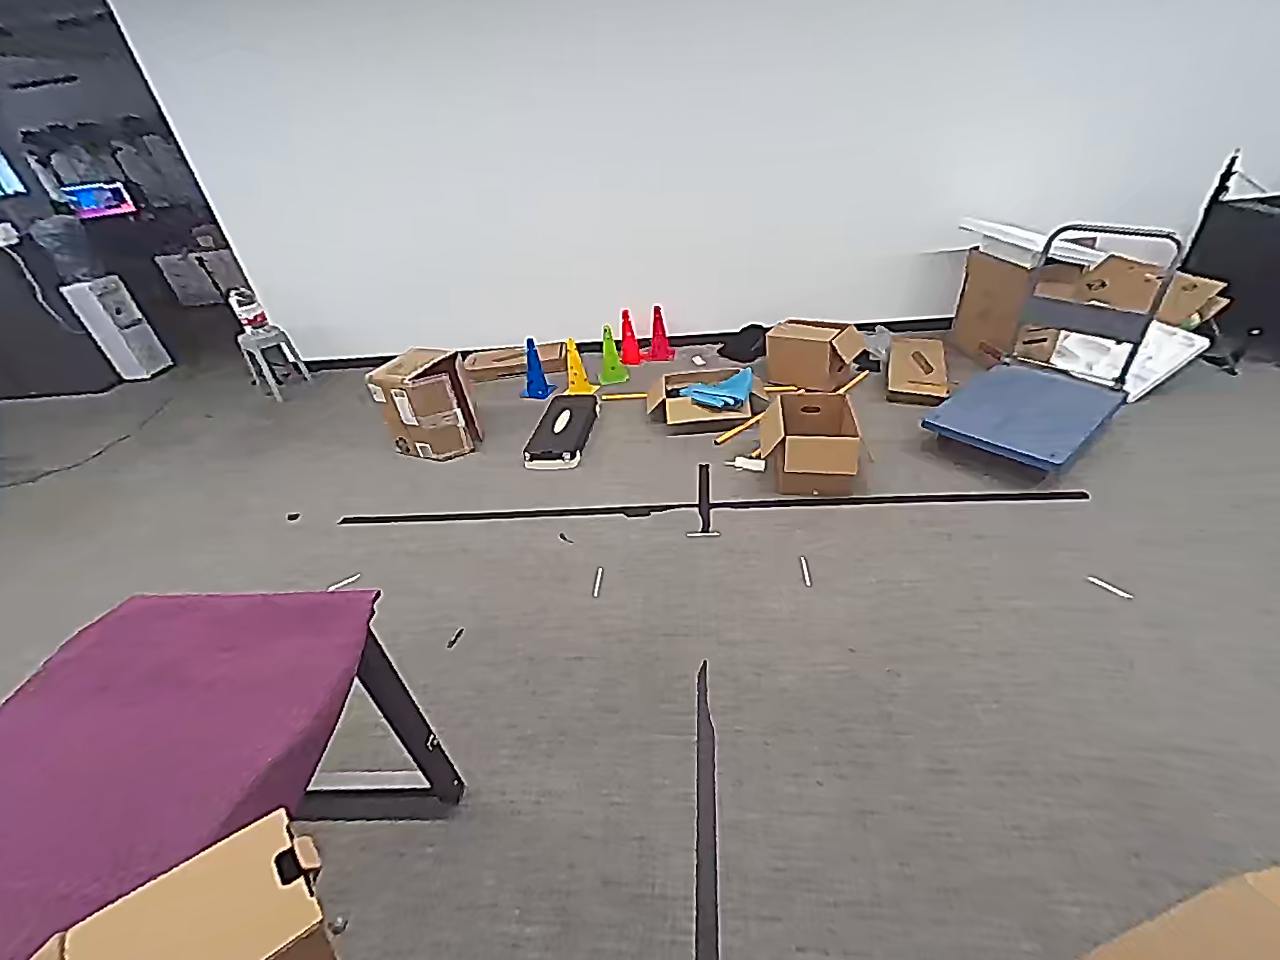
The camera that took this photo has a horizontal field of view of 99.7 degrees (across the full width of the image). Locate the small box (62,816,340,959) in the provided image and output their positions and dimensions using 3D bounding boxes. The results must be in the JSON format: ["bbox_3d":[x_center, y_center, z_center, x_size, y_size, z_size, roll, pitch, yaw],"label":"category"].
[{"bbox_3d":[-0.393,0.481,0.507,0.179,0.176,0.168,-20,24,-40],"label":"small box"}]
